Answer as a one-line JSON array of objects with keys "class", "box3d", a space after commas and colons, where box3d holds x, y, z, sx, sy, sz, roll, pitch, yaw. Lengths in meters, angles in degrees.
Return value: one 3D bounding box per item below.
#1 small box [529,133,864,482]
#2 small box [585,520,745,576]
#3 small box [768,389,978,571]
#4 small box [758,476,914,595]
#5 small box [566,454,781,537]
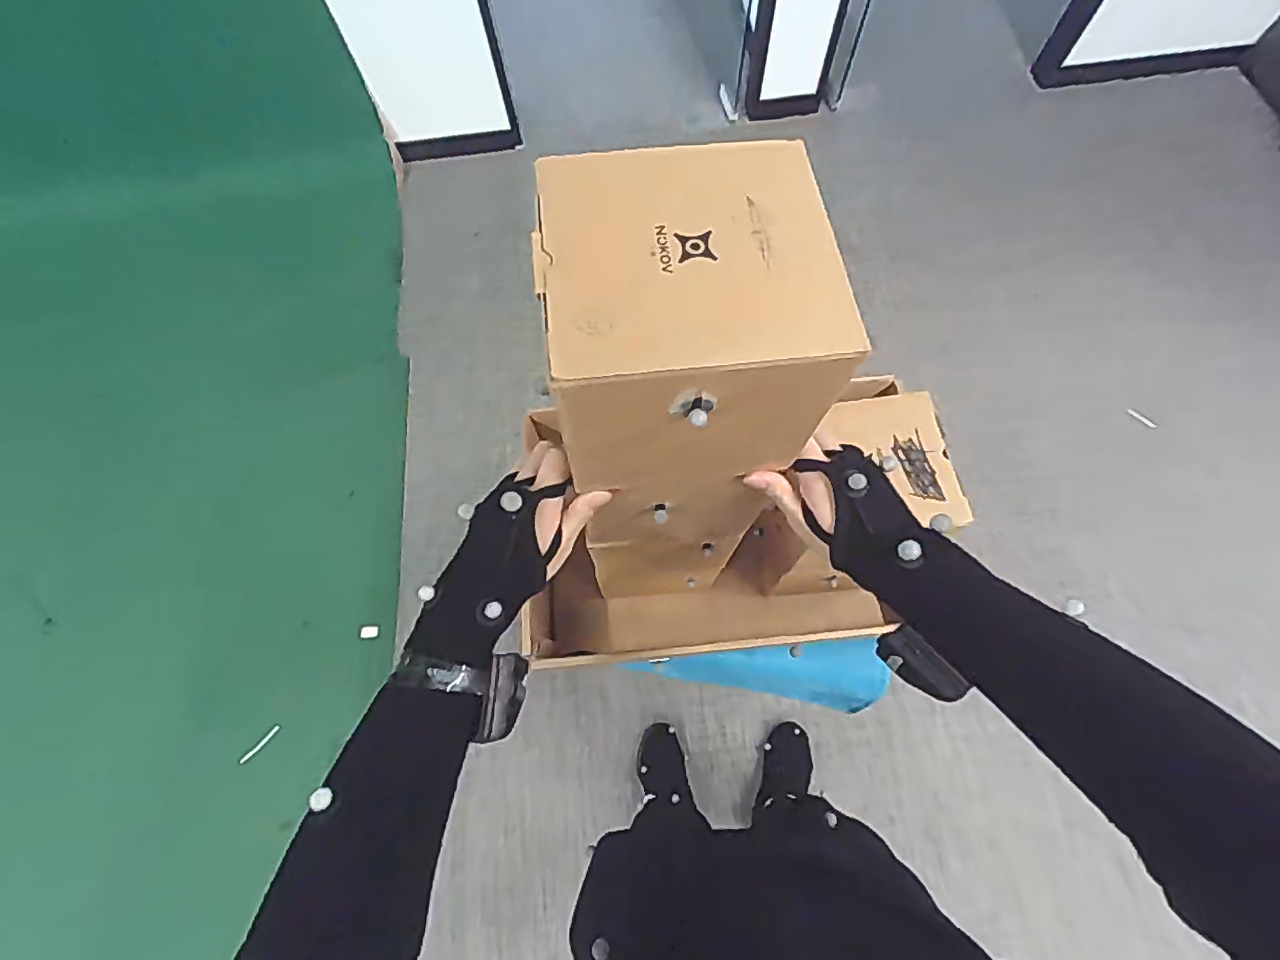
[{"class": "small box", "box3d": [0.025, -0.107, 0.384, 0.179, 0.176, 0.168, -5, 68, -3]}, {"class": "small box", "box3d": [0.022, 0.020, 0.686, 0.179, 0.176, 0.168, -5, 67, -3]}, {"class": "small box", "box3d": [0.268, 0.009, 0.672, 0.179, 0.176, 0.168, -7, 67, 2]}, {"class": "small box", "box3d": [0.280, 0.074, 0.822, 0.179, 0.176, 0.168, -6, 67, 3]}, {"class": "small box", "box3d": [0.024, -0.046, 0.536, 0.179, 0.176, 0.168, -4, 68, -1]}]
